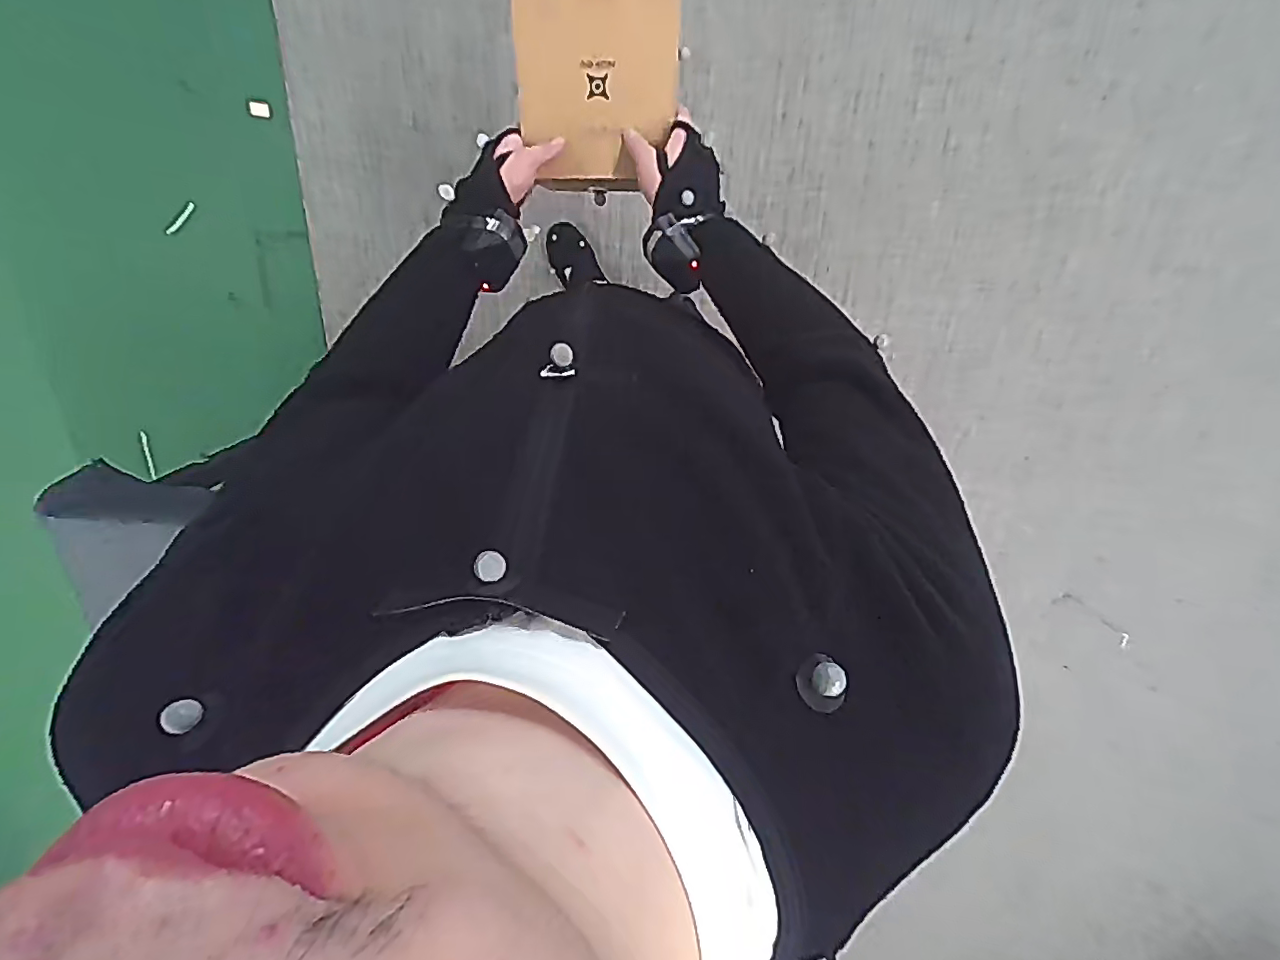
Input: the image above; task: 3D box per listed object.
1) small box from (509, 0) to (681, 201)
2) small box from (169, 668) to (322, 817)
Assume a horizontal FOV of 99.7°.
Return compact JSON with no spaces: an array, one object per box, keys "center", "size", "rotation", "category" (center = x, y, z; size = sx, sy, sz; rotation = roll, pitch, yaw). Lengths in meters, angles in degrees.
[{"center":[-0.044,-0.424,0.612],"size":[0.168,0.176,0.179],"rotation":[3,113,2],"category":"small box"},{"center":[-0.724,0.483,1.013],"size":[0.168,0.176,0.179],"rotation":[12,112,-2],"category":"small box"}]
